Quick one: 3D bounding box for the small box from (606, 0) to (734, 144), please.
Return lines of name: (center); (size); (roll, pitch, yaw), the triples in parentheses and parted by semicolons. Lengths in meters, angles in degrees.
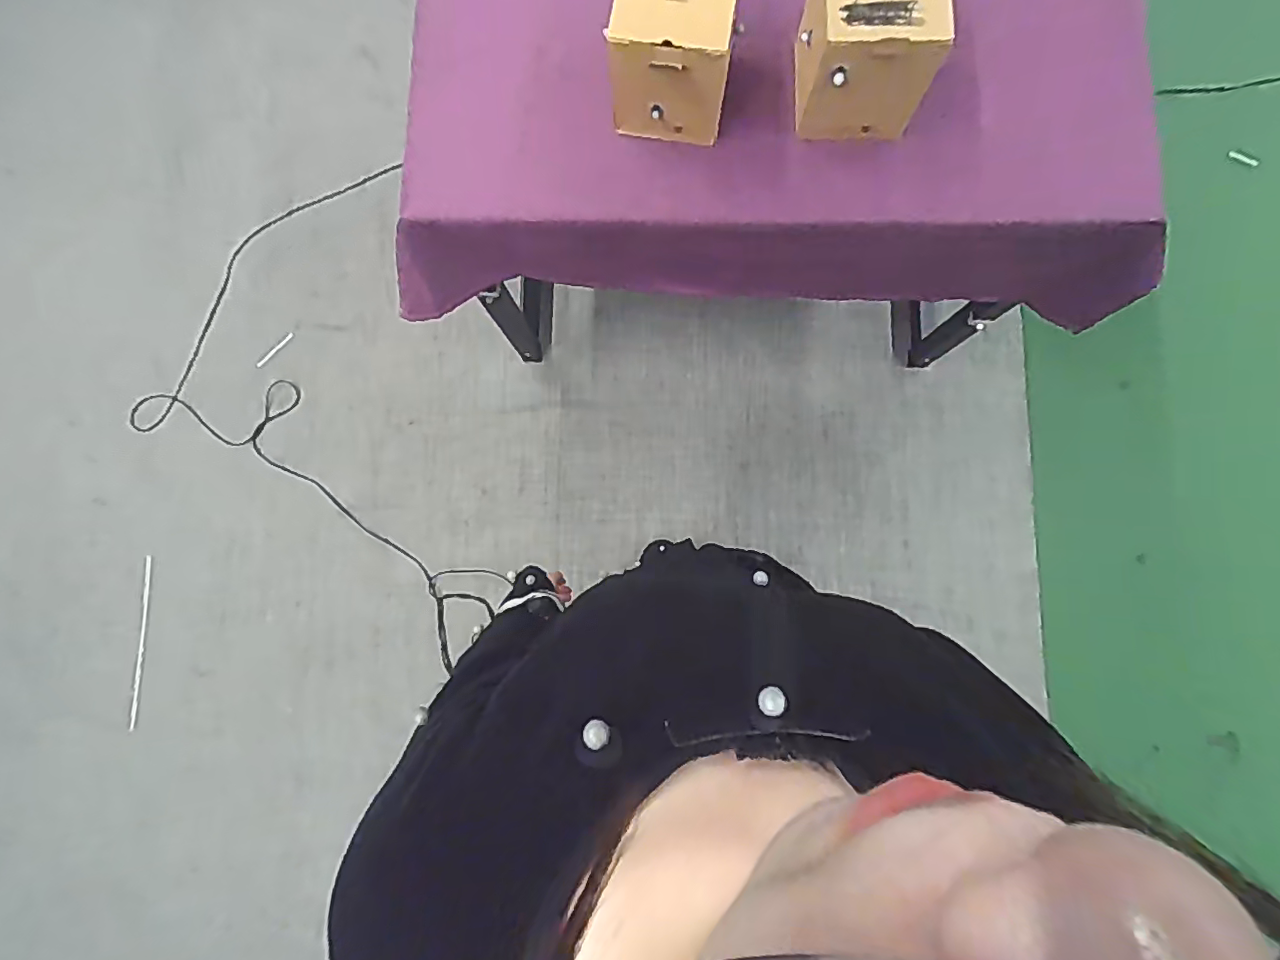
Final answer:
small box: (0.048, -0.659, 0.822); (0.168, 0.176, 0.179); (9, 84, 3)
